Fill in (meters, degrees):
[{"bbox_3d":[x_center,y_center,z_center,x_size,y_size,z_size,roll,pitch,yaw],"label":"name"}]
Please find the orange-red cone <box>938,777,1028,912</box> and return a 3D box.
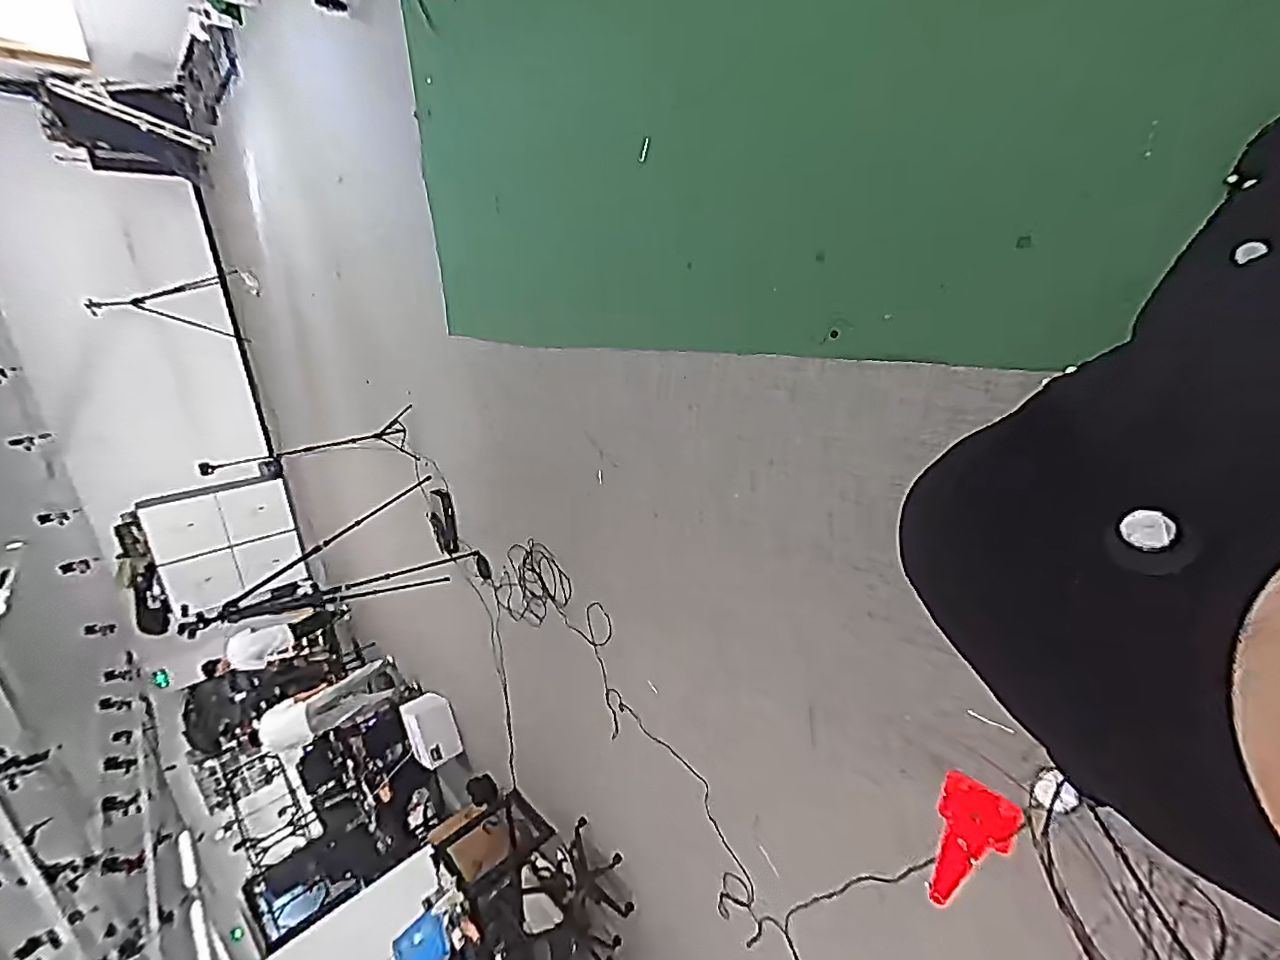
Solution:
[{"bbox_3d":[0.910,1.050,1.509,0.198,0.360,0.199,21,118,41],"label":"orange-red cone"}]
